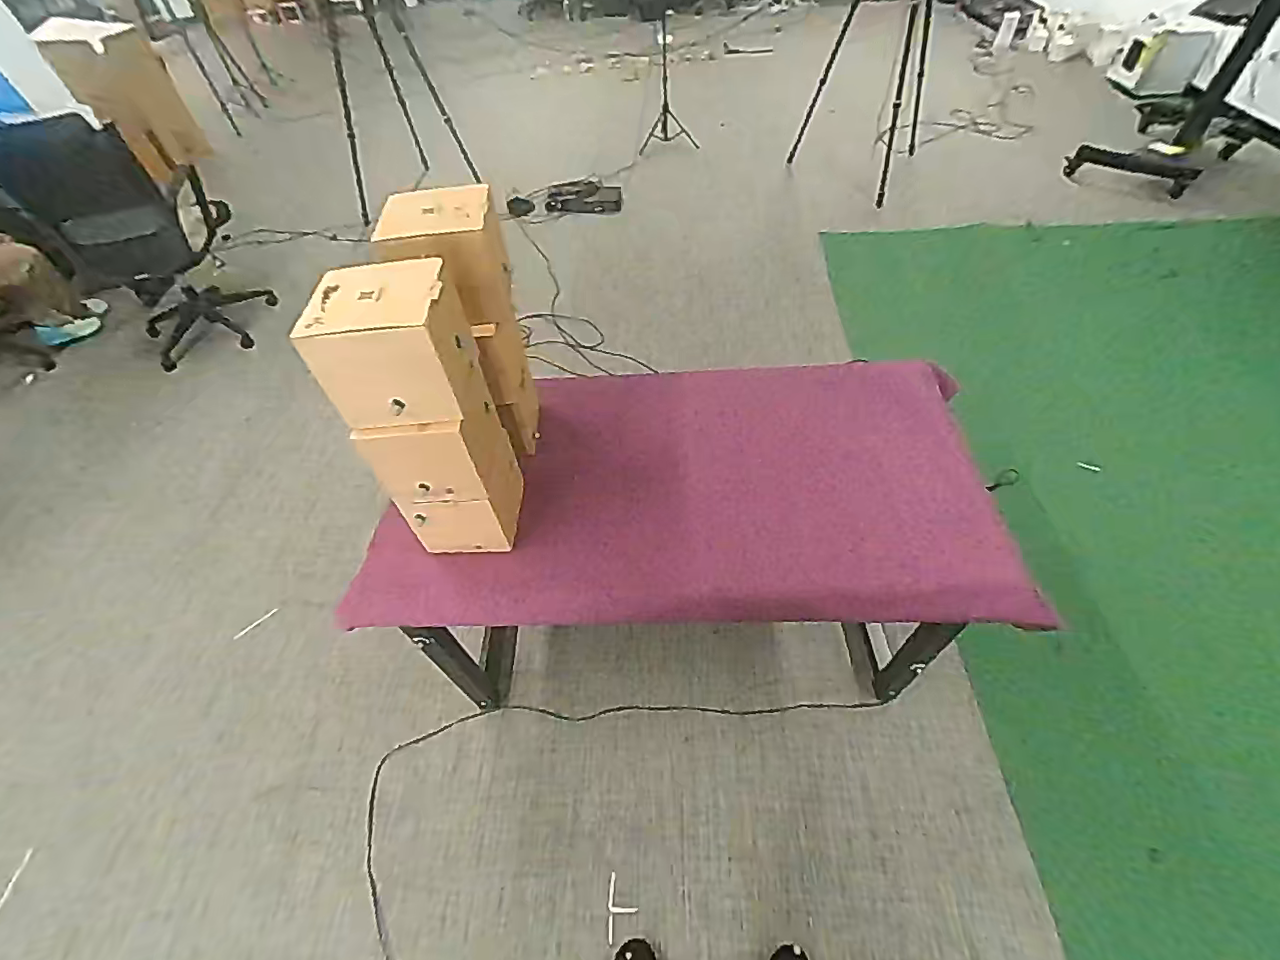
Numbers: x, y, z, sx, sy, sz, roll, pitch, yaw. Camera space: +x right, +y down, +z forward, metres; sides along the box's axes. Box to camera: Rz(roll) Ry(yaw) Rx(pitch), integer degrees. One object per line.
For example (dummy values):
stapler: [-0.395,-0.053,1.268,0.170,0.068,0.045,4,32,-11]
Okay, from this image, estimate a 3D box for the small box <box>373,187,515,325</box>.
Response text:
small box: [-0.328,-0.383,0.943,0.179,0.176,0.168,-6,52,-1]

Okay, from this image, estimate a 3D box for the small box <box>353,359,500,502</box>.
small box: [-0.344,-0.082,0.912,0.168,0.176,0.179,-4,51,1]

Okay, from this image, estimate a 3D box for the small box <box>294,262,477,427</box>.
small box: [-0.353,-0.196,0.794,0.179,0.176,0.168,-5,50,0]
